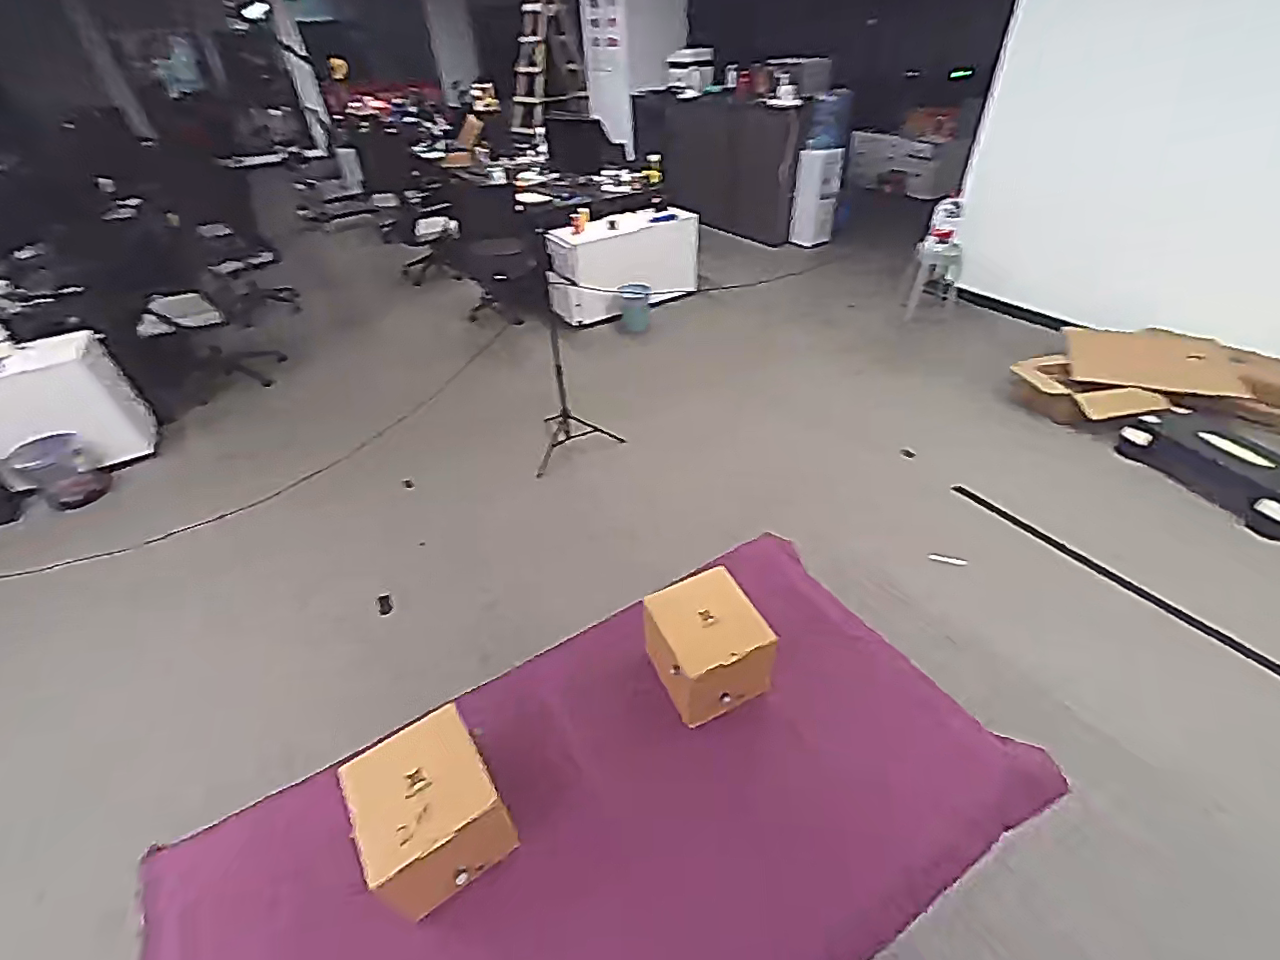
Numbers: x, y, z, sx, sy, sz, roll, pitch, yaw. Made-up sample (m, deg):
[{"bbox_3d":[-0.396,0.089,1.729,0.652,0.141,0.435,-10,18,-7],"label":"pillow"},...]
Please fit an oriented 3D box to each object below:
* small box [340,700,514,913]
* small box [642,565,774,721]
[{"bbox_3d":[-0.301,0.468,0.780,0.168,0.176,0.179,-26,45,-25],"label":"small box"},{"bbox_3d":[0.113,0.289,0.967,0.168,0.176,0.179,-19,43,-18],"label":"small box"}]
